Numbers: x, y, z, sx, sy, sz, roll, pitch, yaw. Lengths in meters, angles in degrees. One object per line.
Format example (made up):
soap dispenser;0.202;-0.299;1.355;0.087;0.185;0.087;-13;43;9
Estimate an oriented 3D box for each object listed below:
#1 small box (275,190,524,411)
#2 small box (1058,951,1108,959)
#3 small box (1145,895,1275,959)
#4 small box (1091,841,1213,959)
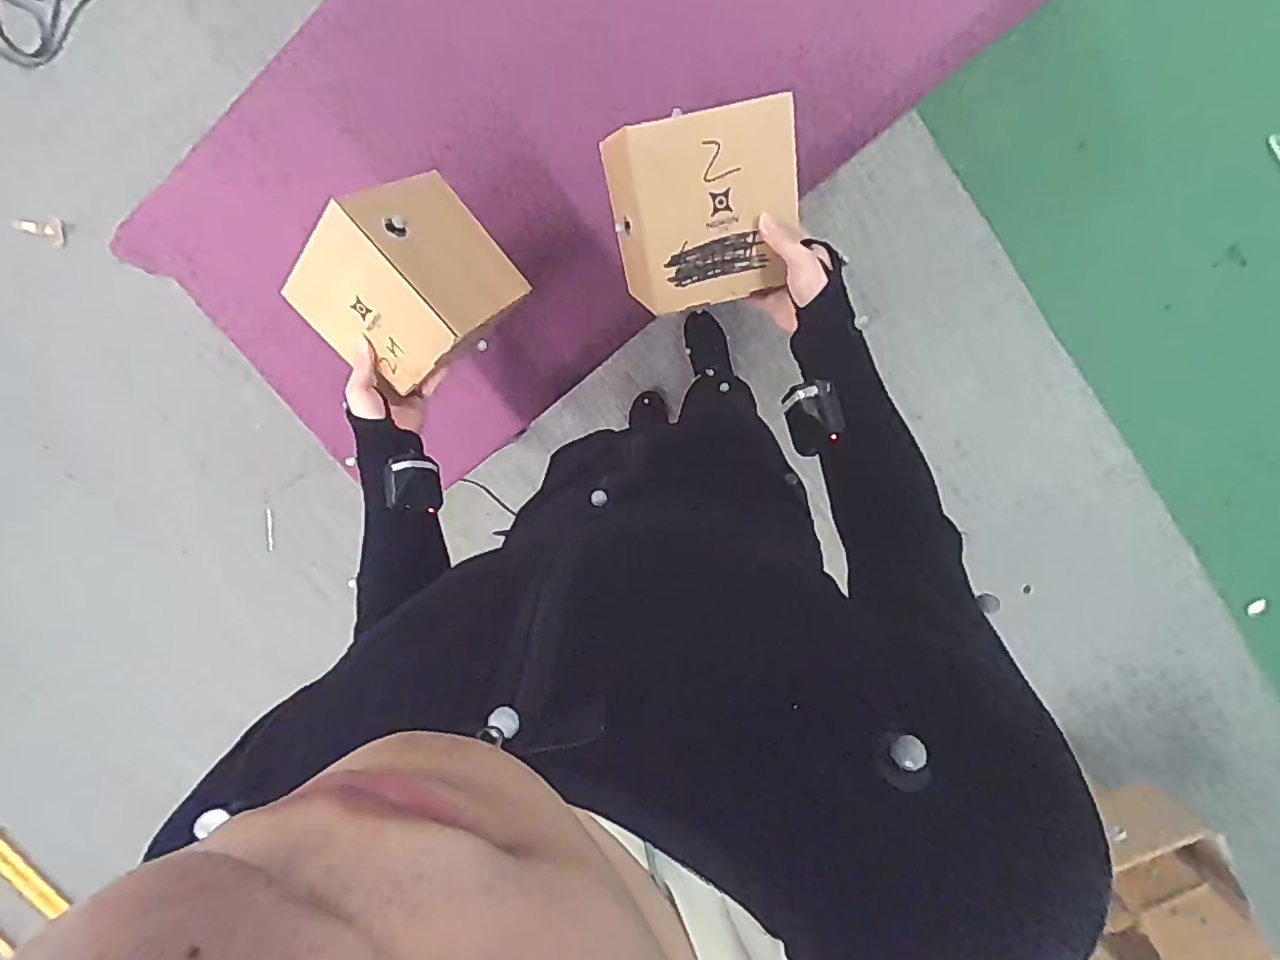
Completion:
small box;-0.277;-0.220;0.650;0.168;0.176;0.179;-26;112;37
small box;1.071;1.244;1.250;0.168;0.176;0.179;-31;100;9
small box;1.309;1.094;1.212;0.168;0.176;0.179;-34;99;9
small box;1.318;1.071;1.373;0.179;0.176;0.168;-33;99;9
